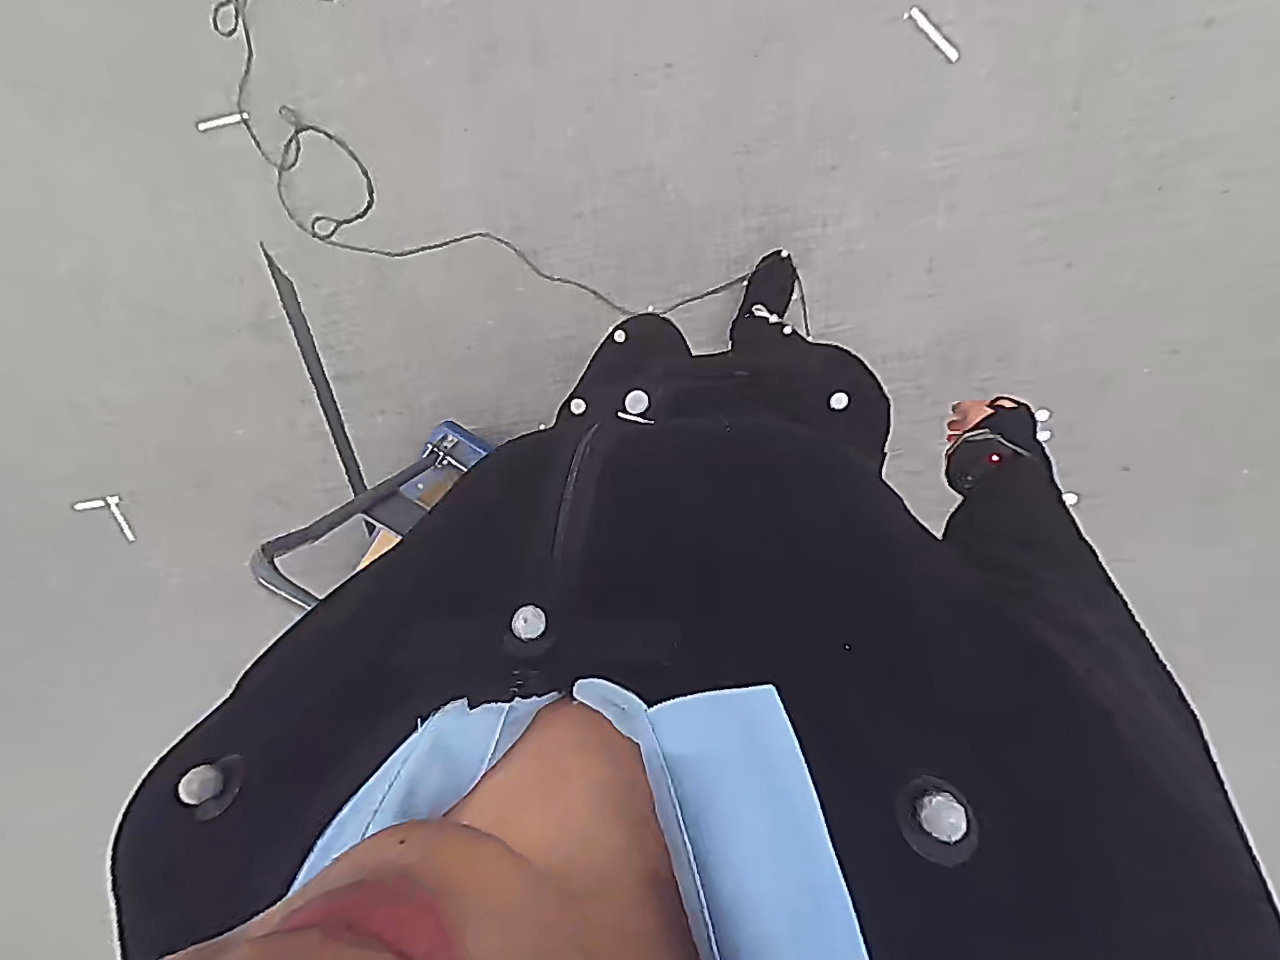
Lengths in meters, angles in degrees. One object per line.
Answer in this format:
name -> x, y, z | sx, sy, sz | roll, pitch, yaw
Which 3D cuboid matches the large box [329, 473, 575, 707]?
large box -> -0.428, 0.253, 1.310 | 0.408, 0.320, 0.320 | 36, 109, -7
